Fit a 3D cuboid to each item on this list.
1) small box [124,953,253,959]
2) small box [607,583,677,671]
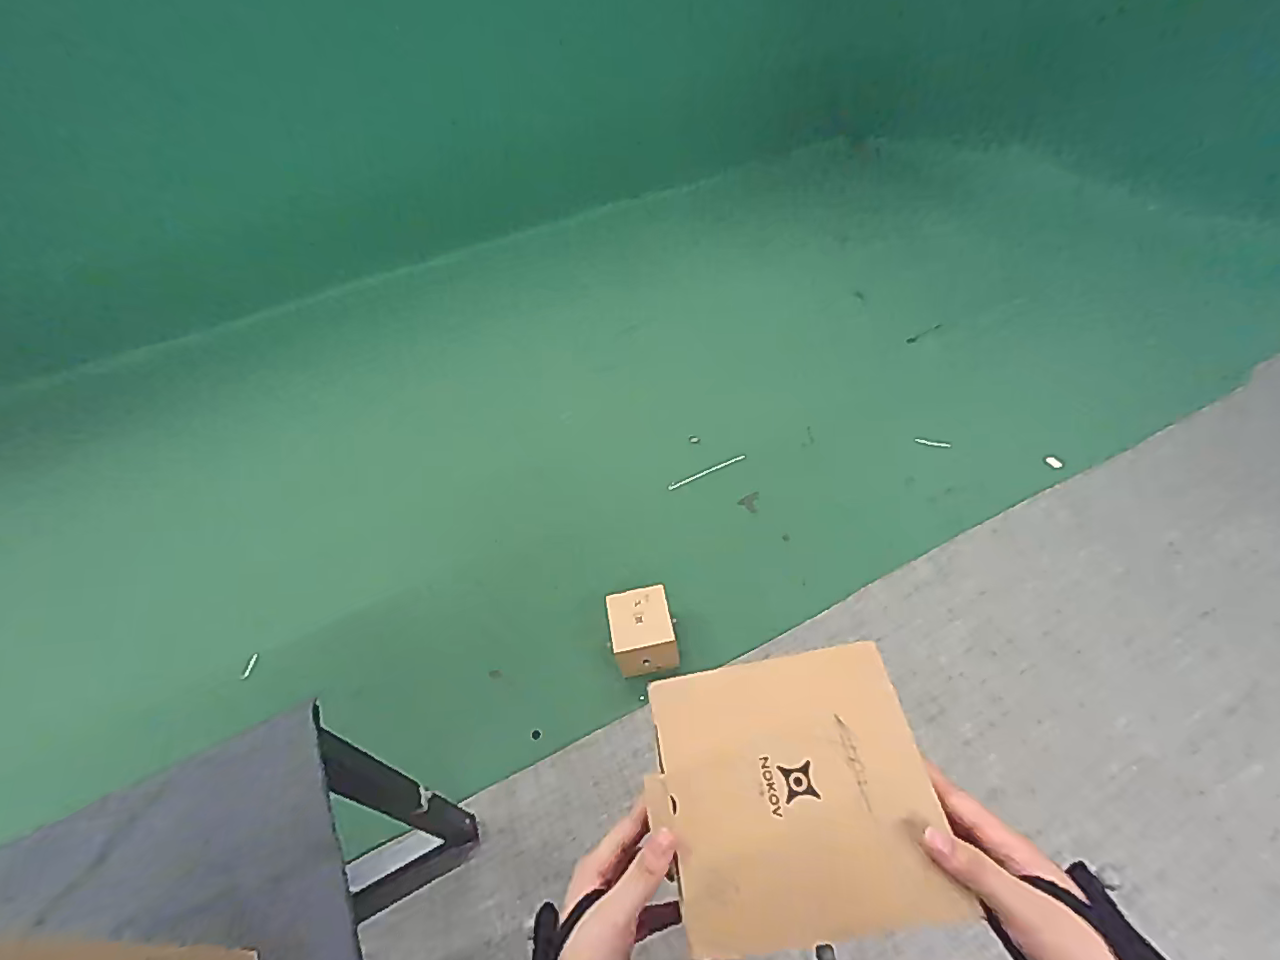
[{"bbox_3d":[-0.477,0.559,0.478,0.179,0.176,0.168,-25,50,-11],"label":"small box"},{"bbox_3d":[0.008,0.417,1.512,0.168,0.176,0.179,-11,48,-2],"label":"small box"}]
